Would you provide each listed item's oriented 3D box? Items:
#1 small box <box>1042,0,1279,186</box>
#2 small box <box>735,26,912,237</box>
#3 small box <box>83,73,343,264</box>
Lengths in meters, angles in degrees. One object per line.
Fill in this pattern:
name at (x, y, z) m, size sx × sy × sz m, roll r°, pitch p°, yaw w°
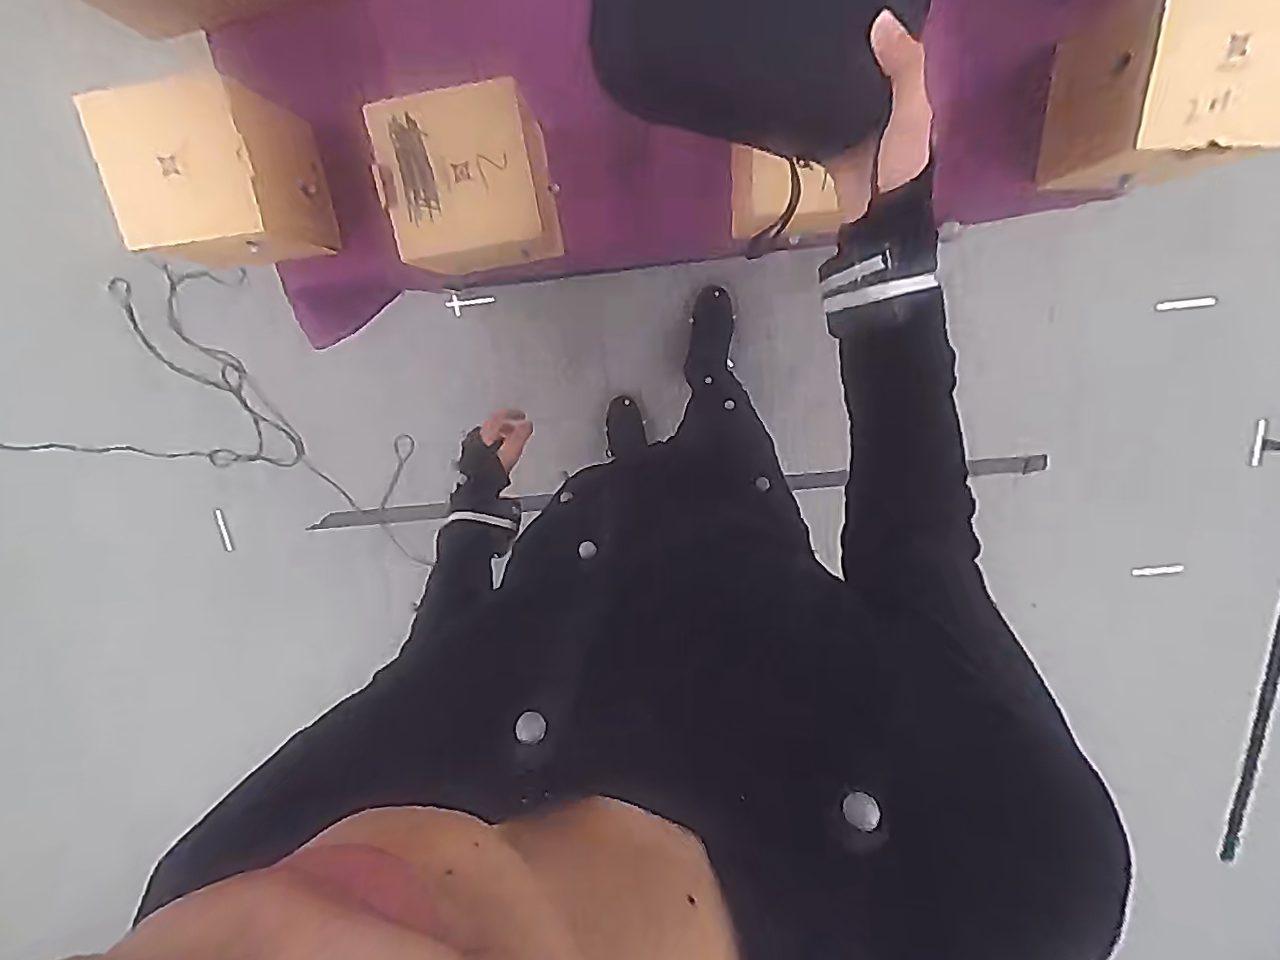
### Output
small box at (0.621, -0.466, 0.638) m, size 0.168 × 0.176 × 0.179 m, roll 0°, pitch 106°, yaw 2°
small box at (0.210, -0.411, 0.668) m, size 0.168 × 0.176 × 0.179 m, roll -2°, pitch 107°, yaw 3°
small box at (-0.526, -0.382, 0.695) m, size 0.179 × 0.176 × 0.168 m, roll -7°, pitch 106°, yaw 2°
